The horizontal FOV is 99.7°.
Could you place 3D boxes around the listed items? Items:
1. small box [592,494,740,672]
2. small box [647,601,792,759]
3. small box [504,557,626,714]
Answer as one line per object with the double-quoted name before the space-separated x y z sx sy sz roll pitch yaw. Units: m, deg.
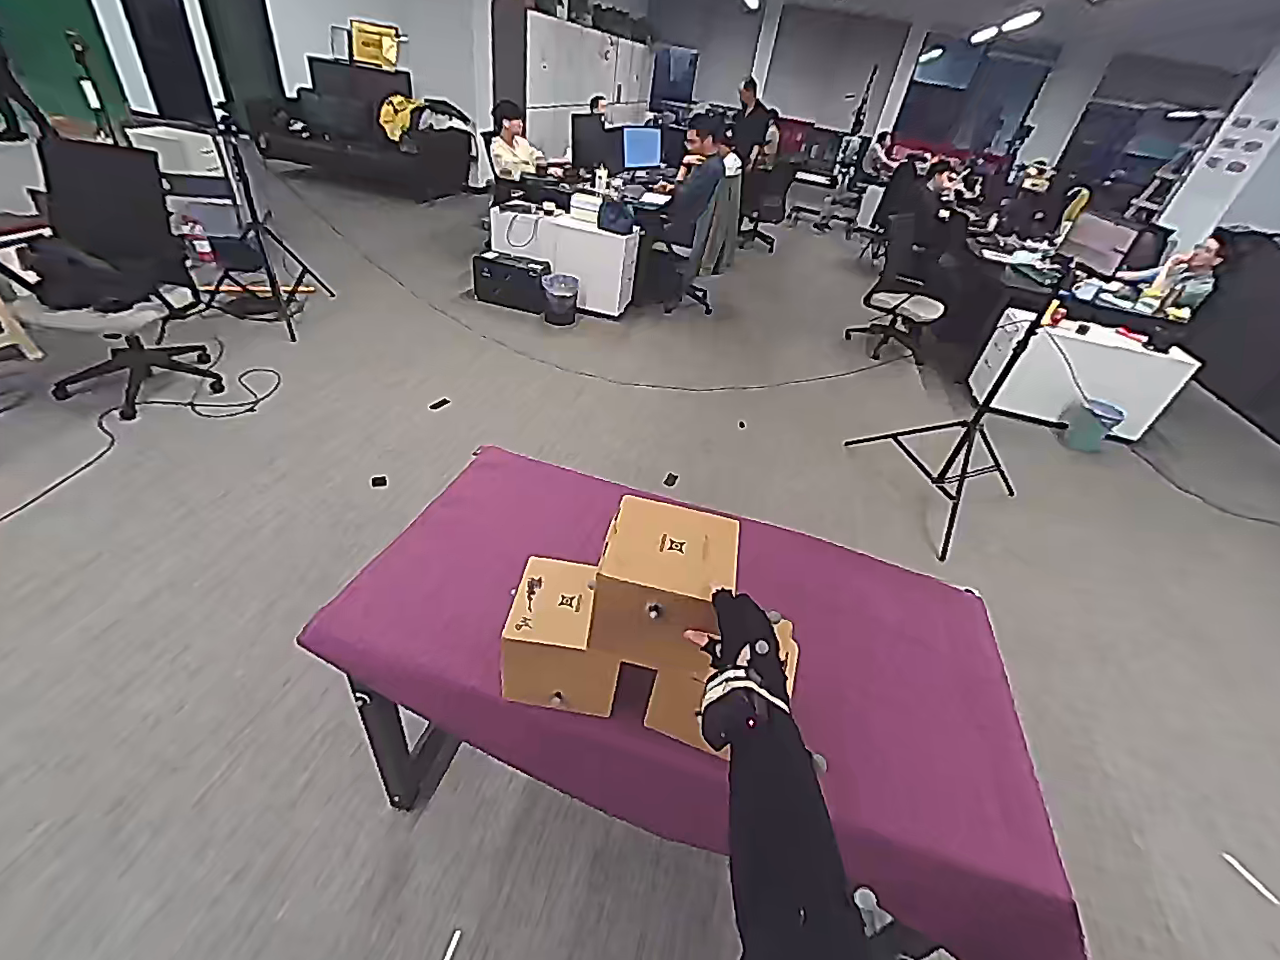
"small box" 0.035 0.149 0.778 0.179 0.176 0.168 13 37 3
"small box" 0.125 0.309 0.859 0.179 0.176 0.168 17 36 12
"small box" -0.113 0.254 0.879 0.179 0.176 0.168 10 36 -1
